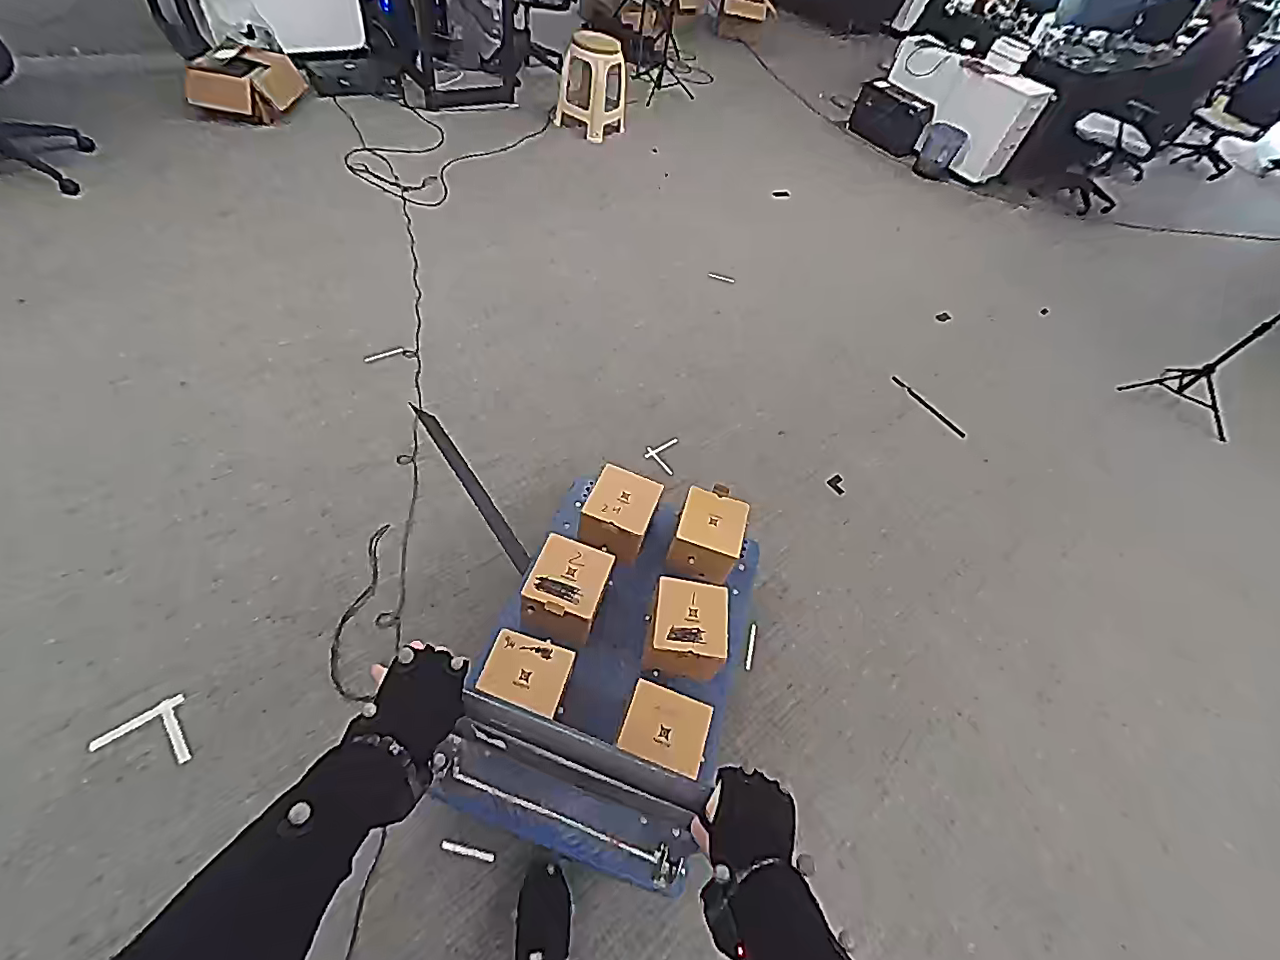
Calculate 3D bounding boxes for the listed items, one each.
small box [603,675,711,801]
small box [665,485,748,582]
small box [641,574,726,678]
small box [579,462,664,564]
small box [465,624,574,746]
[{"bbox_3d":[0.030,0.543,1.127,0.168,0.176,0.179,22,52,4],"label":"small box"},{"bbox_3d":[0.174,0.149,1.453,0.168,0.176,0.179,19,52,2],"label":"small box"},{"bbox_3d":[0.101,0.352,1.285,0.168,0.176,0.179,12,51,-4],"label":"small box"},{"bbox_3d":[-0.054,0.091,1.443,0.168,0.176,0.179,23,53,5],"label":"small box"},{"bbox_3d":[-0.249,0.438,1.142,0.168,0.176,0.179,19,52,1],"label":"small box"}]
